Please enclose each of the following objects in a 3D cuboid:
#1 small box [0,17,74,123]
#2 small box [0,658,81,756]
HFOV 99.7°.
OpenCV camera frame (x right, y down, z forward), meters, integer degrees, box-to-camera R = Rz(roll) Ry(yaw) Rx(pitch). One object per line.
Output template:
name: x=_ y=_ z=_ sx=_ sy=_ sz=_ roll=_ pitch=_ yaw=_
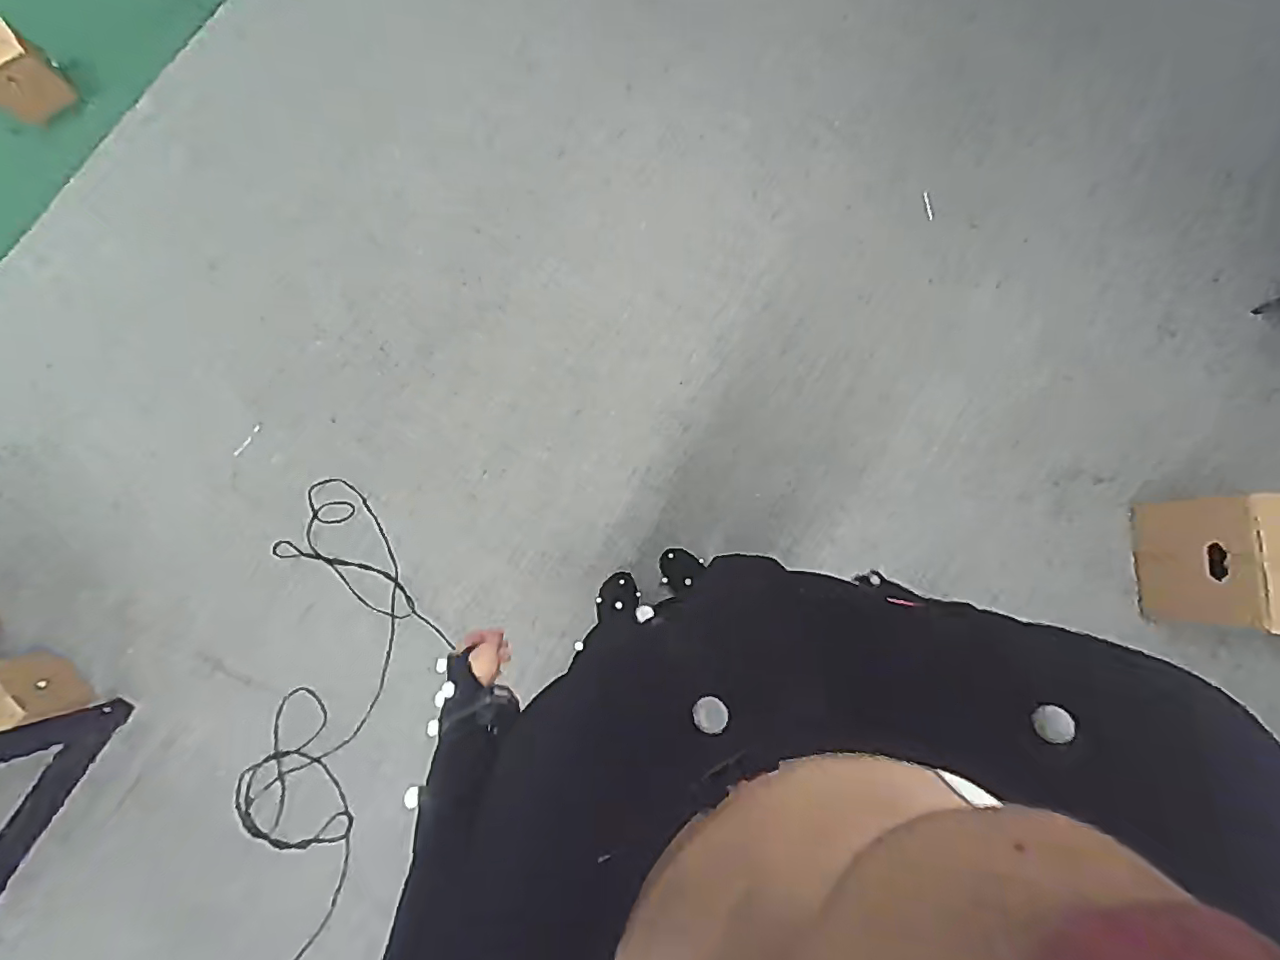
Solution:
small box: x=-1.898 y=-1.237 z=1.633 sx=0.179 sy=0.176 sz=0.168 roll=-38 pitch=84 yaw=-6
small box: x=-1.589 y=0.574 z=1.357 sx=0.179 sy=0.176 sz=0.168 roll=45 pitch=83 yaw=5
